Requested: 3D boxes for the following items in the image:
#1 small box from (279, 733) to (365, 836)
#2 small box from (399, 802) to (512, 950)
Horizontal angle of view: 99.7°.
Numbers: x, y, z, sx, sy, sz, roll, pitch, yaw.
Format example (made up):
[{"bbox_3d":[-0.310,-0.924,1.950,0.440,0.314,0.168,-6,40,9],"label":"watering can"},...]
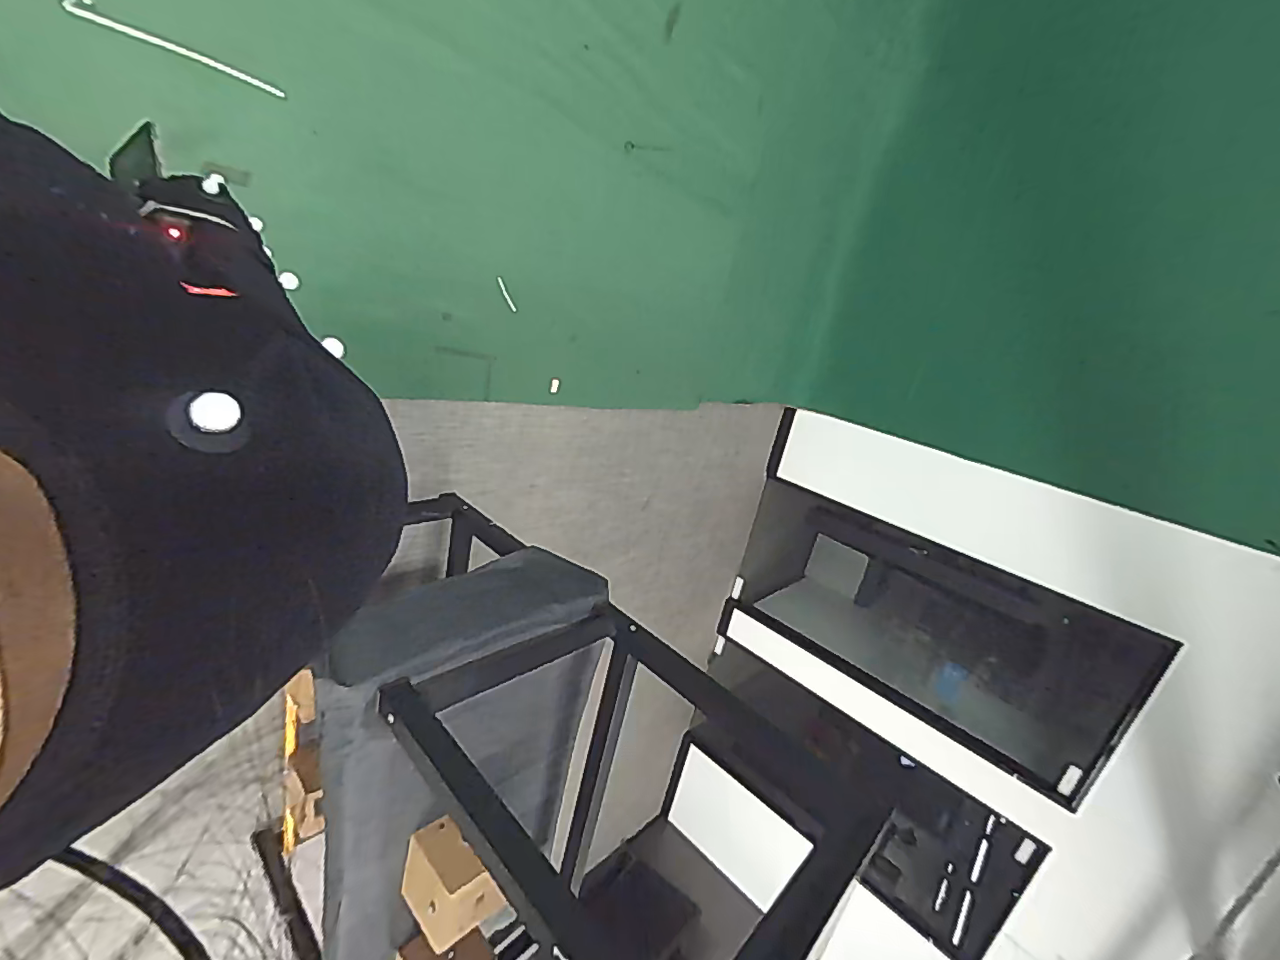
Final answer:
[{"bbox_3d":[-0.956,0.901,1.617,0.179,0.176,0.168,-3,114,-50],"label":"small box"},{"bbox_3d":[-0.413,0.858,1.199,0.168,0.176,0.179,-4,115,-50],"label":"small box"}]
